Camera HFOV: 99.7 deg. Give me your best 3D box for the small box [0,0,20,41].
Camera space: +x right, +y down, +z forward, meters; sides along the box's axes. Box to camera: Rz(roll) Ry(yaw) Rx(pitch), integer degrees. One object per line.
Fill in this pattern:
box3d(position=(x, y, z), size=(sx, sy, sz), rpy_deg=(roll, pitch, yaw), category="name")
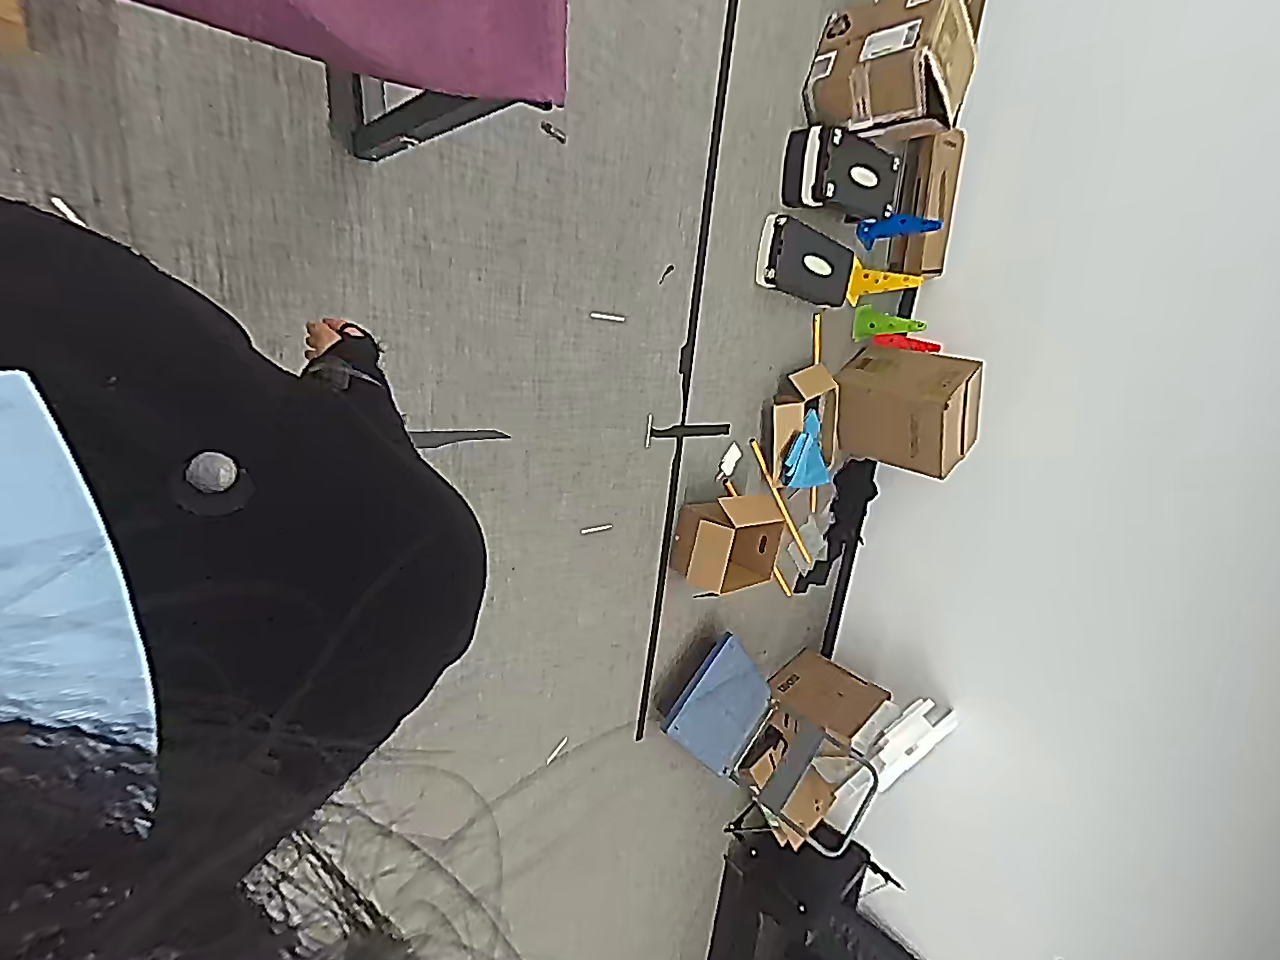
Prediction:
box3d(position=(-1.029, -0.778, 0.773), size=(0.168, 0.176, 0.179), rpy_deg=(-8, 111, -44), category="small box")
